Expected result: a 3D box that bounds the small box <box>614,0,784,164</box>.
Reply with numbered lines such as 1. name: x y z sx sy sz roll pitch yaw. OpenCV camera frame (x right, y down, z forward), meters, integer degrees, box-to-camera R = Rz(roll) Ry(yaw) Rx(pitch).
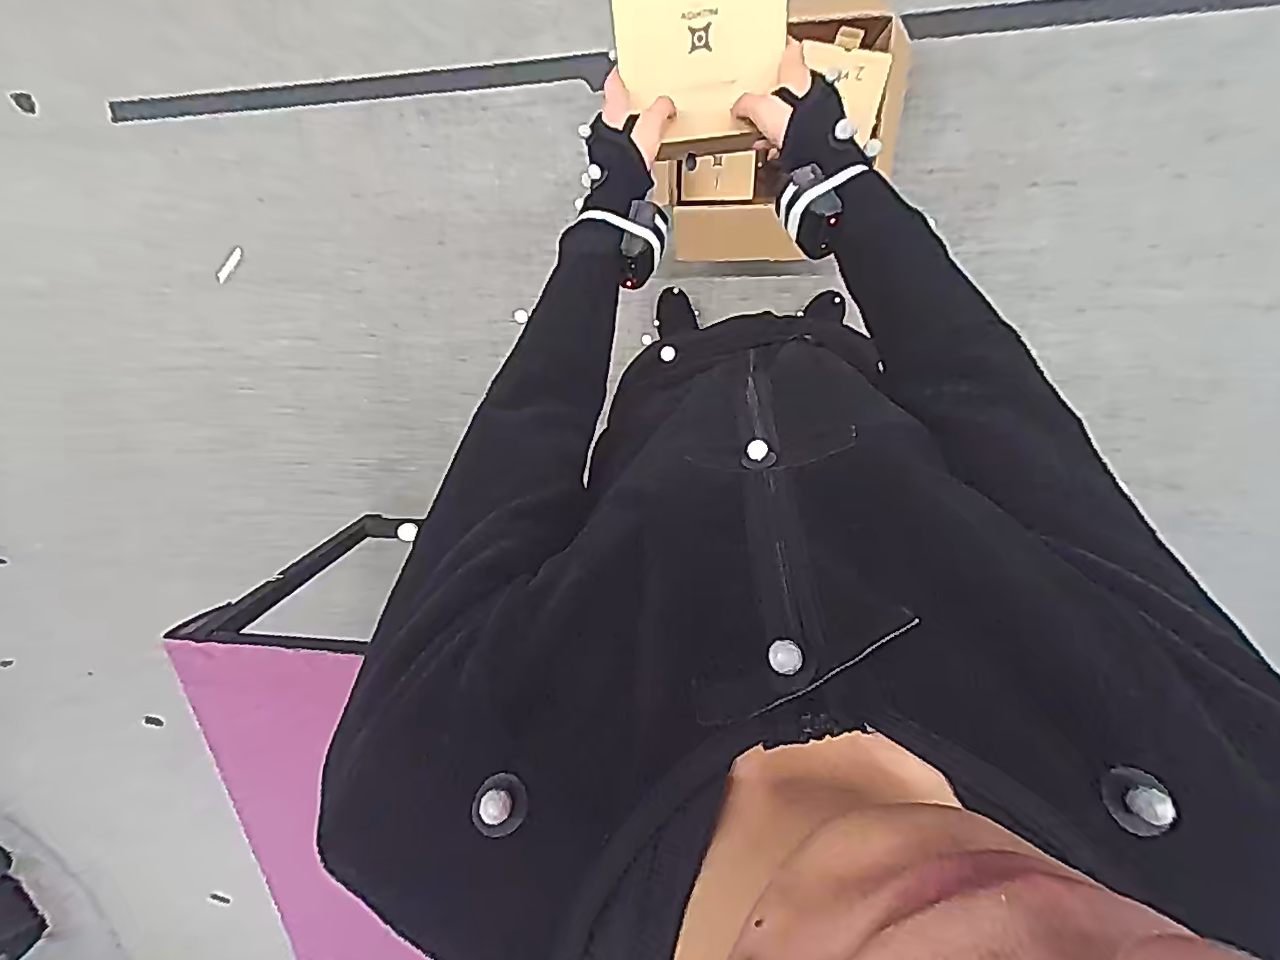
1. small box: 0.065 -0.467 0.599 0.168 0.176 0.179 -2 114 8
